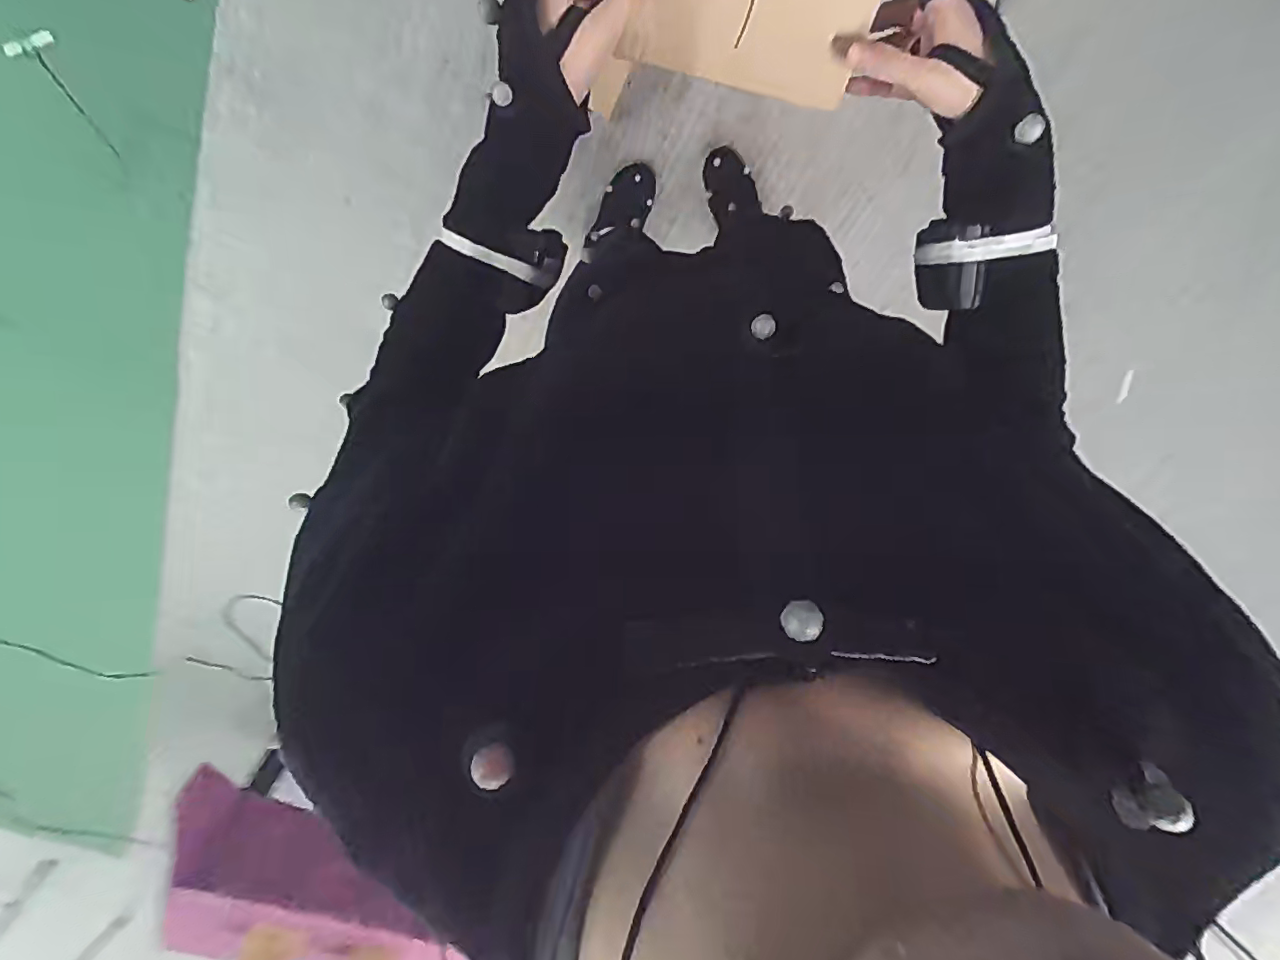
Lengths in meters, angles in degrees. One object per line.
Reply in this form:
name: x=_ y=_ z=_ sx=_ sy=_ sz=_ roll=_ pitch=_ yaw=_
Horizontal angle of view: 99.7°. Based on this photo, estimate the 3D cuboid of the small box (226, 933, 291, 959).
small box: x=-1.250 y=1.582 z=1.720 sx=0.168 sy=0.176 sz=0.179 roll=29 pitch=119 yaw=-16

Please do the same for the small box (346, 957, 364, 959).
small box: x=-0.964 y=1.734 z=1.806 sx=0.179 sy=0.176 sz=0.168 roll=28 pitch=119 yaw=-15

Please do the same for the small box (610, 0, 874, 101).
small box: x=0.072 y=-0.396 z=0.368 sx=0.168 sy=0.176 sz=0.179 roll=5 pitch=136 yaw=-11

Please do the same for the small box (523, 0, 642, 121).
small box: x=-0.100 y=-0.834 z=1.055 sx=0.179 sy=0.176 sz=0.168 roll=27 pitch=119 yaw=-13
